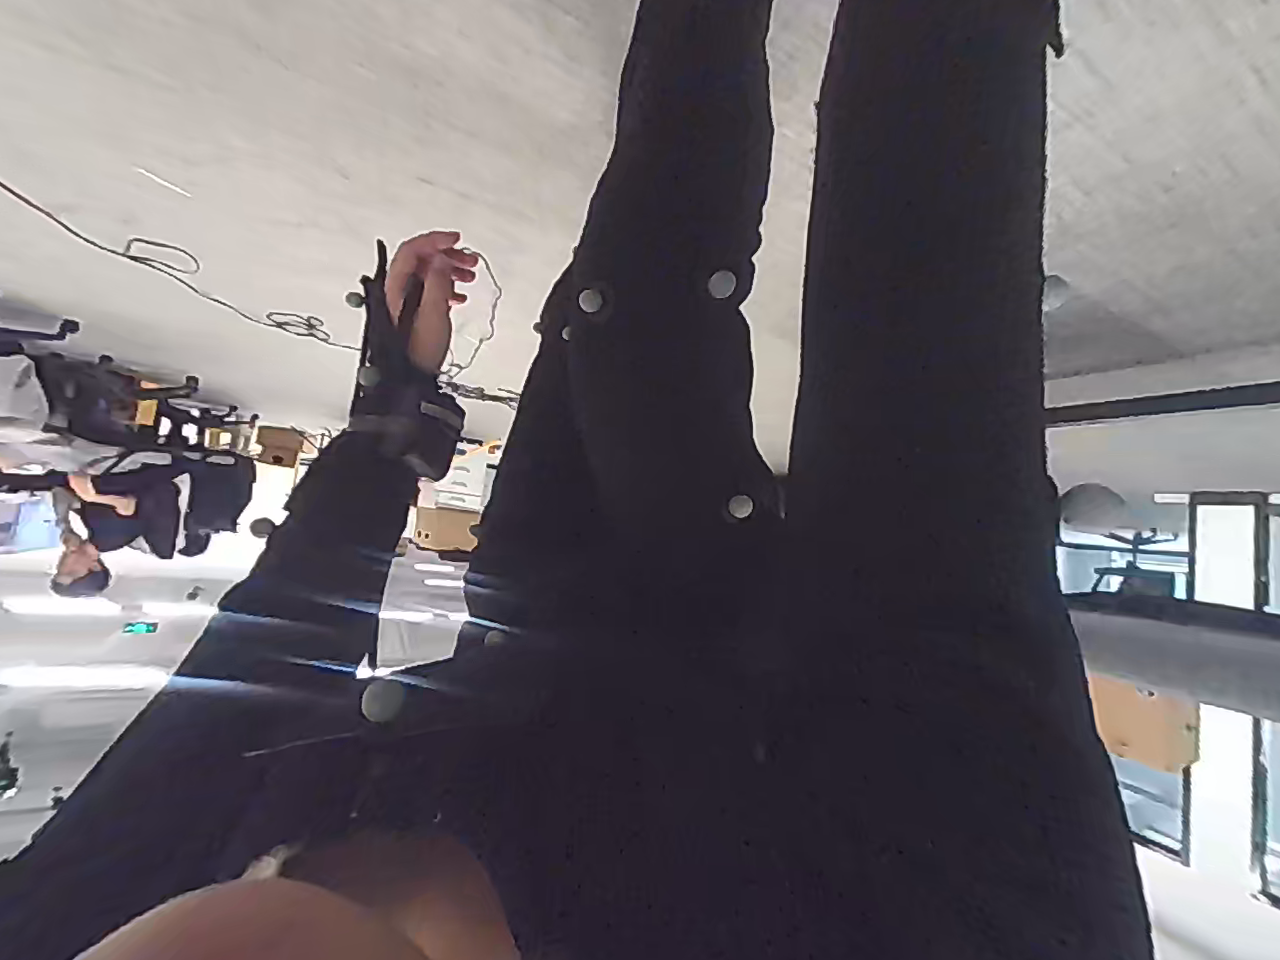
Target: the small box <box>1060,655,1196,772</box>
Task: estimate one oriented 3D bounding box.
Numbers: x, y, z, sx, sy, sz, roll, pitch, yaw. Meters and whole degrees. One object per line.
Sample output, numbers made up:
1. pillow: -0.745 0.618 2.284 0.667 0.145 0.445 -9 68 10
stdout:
1. small box: 0.977 0.455 1.085 0.179 0.176 0.168 8 175 -31
